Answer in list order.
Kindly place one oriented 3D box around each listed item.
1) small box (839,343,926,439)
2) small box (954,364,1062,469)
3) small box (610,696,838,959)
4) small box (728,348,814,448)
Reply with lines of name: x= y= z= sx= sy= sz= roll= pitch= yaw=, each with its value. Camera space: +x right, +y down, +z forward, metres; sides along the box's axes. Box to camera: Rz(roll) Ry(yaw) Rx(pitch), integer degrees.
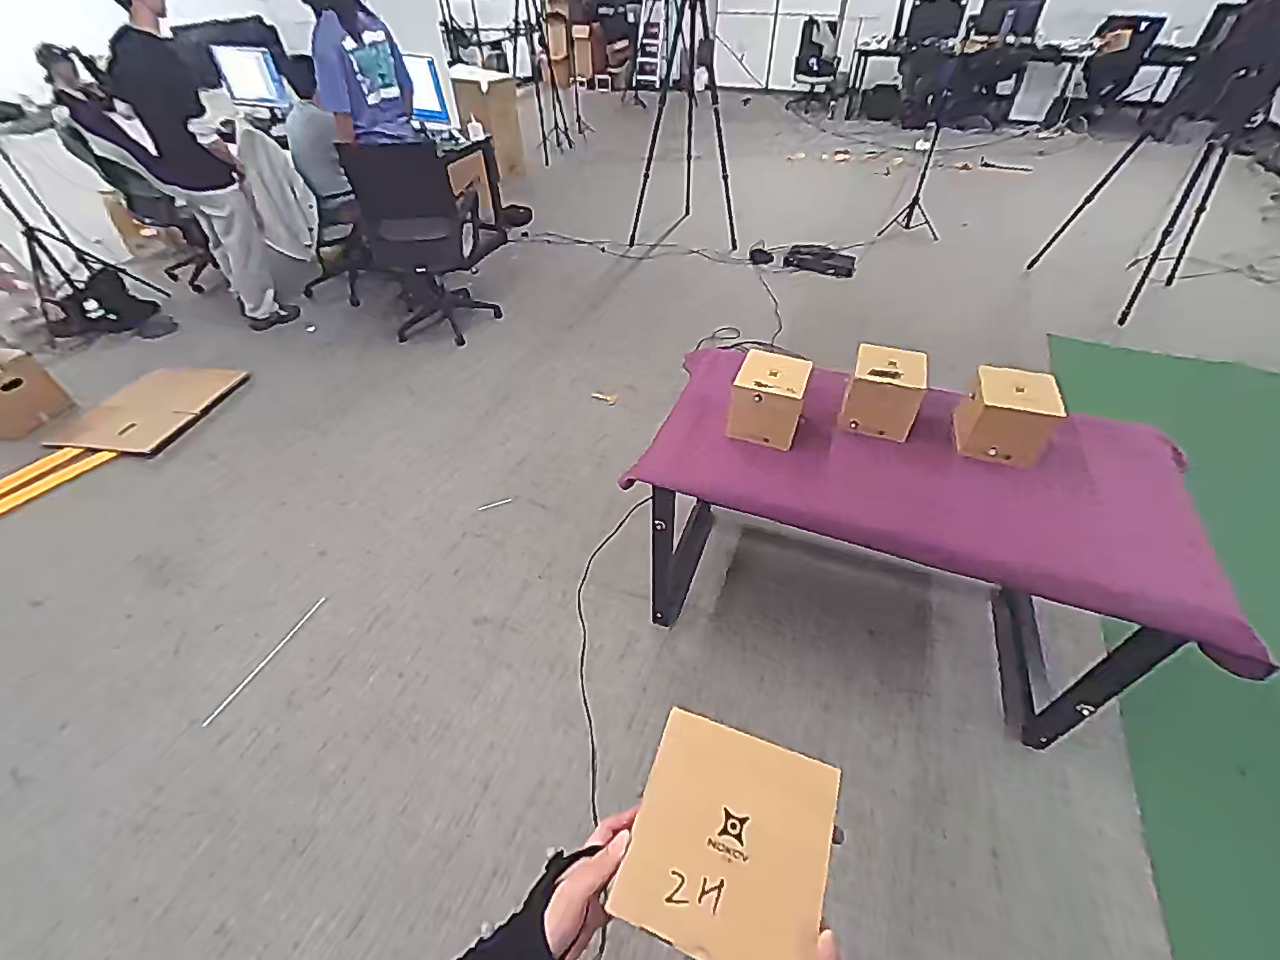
small box: x=0.627 y=-0.230 z=1.406 sx=0.168 sy=0.176 sz=0.179 roll=15 pitch=46 yaw=15
small box: x=0.892 y=-0.156 z=1.330 sx=0.168 sy=0.176 sz=0.179 roll=14 pitch=47 yaw=15
small box: x=0.082 y=0.351 z=0.539 sx=0.168 sy=0.176 sz=0.179 roll=15 pitch=55 yaw=15
small box: x=0.332 y=-0.211 z=1.390 sx=0.168 sy=0.176 sz=0.179 roll=16 pitch=47 yaw=16
